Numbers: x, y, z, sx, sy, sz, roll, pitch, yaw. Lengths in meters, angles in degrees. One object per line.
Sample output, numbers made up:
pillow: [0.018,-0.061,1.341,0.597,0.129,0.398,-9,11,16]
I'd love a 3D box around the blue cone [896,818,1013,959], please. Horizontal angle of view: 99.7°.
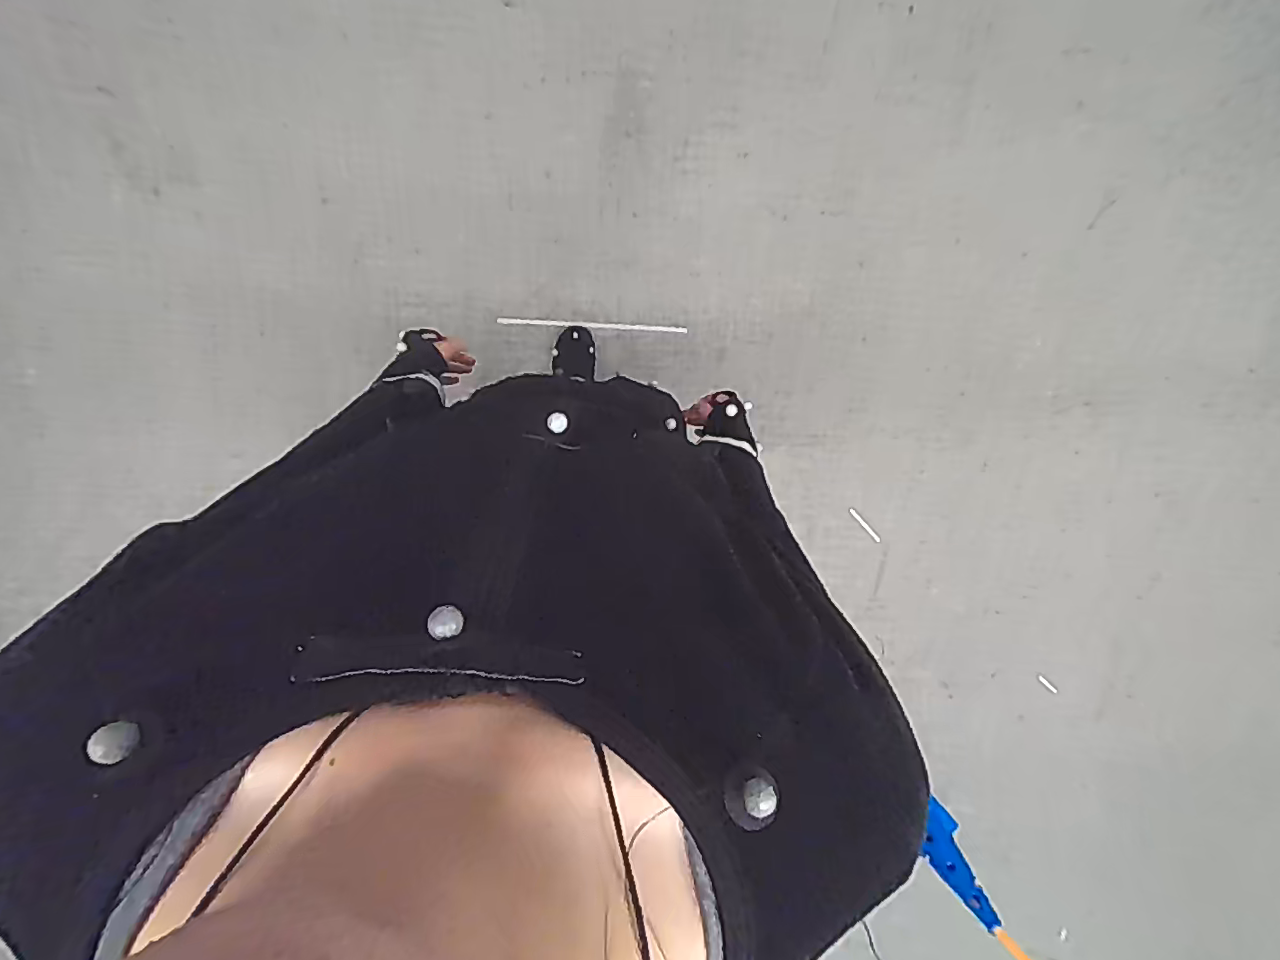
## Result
blue cone: [0.989,1.273,1.667,0.193,0.380,0.192,-42,101,3]
